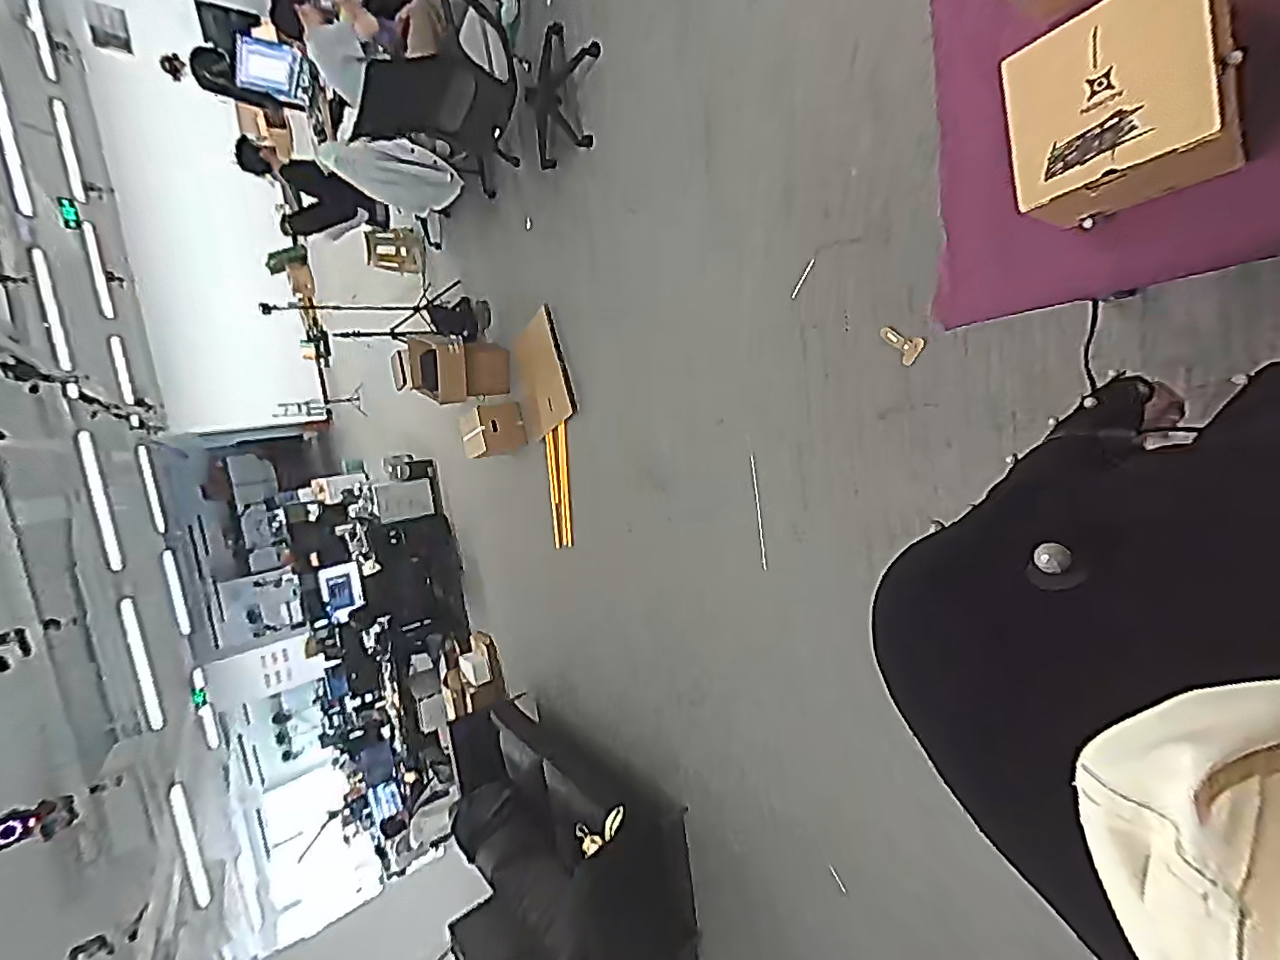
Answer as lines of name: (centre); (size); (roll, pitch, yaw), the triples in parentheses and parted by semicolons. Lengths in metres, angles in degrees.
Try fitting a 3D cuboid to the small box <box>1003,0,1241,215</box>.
small box: (0.549, -0.424, 0.618); (0.168, 0.176, 0.179); (-5, 94, 54)
